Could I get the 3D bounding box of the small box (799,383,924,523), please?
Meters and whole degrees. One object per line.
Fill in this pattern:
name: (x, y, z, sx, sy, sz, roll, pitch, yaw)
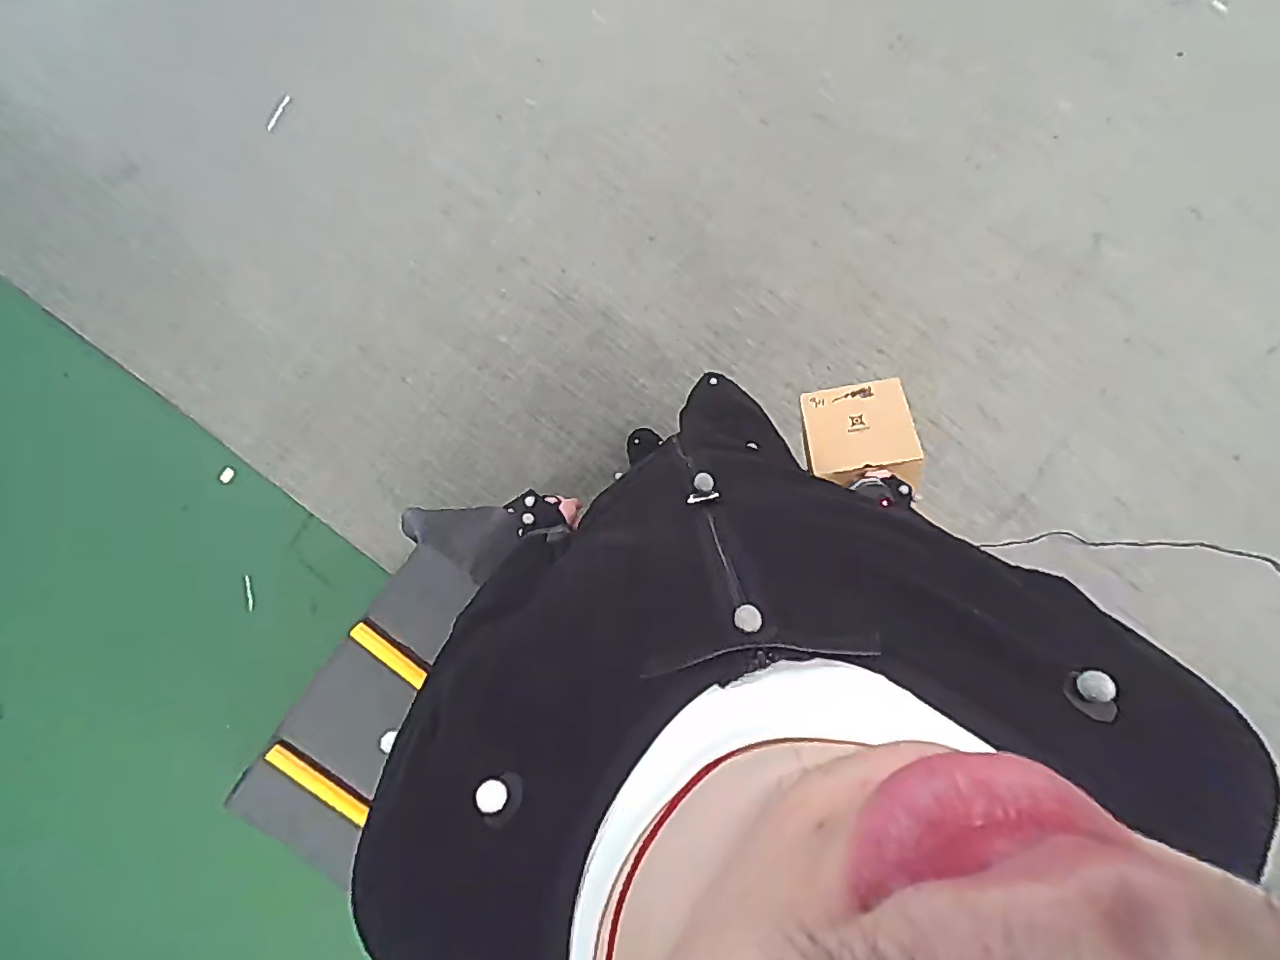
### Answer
small box: (0.387, -0.037, 0.957, 0.168, 0.176, 0.179, -12, 53, 15)
